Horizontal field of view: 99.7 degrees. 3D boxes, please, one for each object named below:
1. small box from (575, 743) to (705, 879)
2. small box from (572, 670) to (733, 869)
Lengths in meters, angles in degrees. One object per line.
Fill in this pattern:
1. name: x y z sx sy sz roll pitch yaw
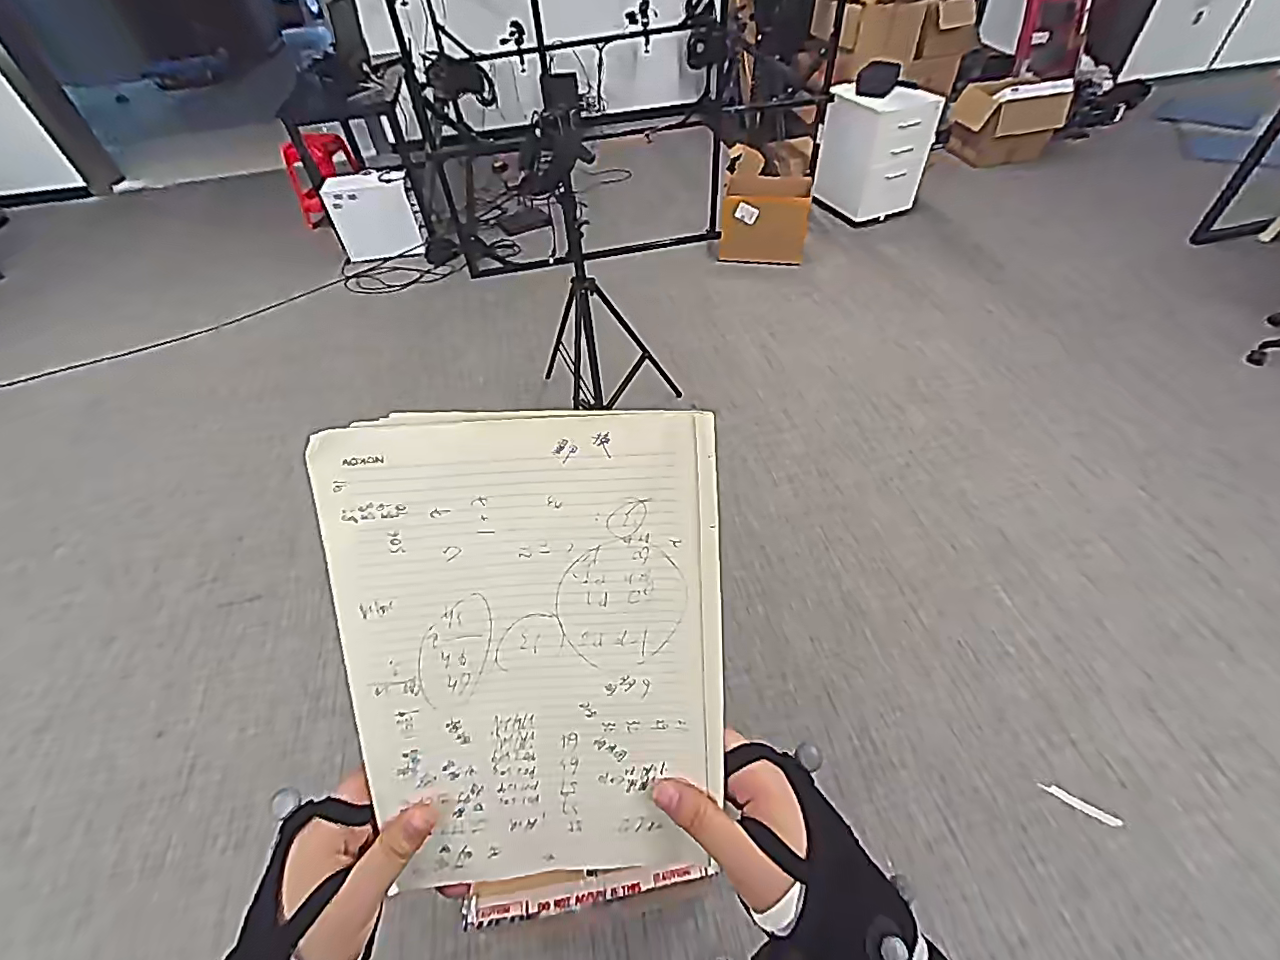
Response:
1. small box: 0.007 0.481 0.821 0.179 0.176 0.168 -12 50 -8
2. small box: 0.007 0.373 0.696 0.168 0.176 0.179 -9 51 -6
